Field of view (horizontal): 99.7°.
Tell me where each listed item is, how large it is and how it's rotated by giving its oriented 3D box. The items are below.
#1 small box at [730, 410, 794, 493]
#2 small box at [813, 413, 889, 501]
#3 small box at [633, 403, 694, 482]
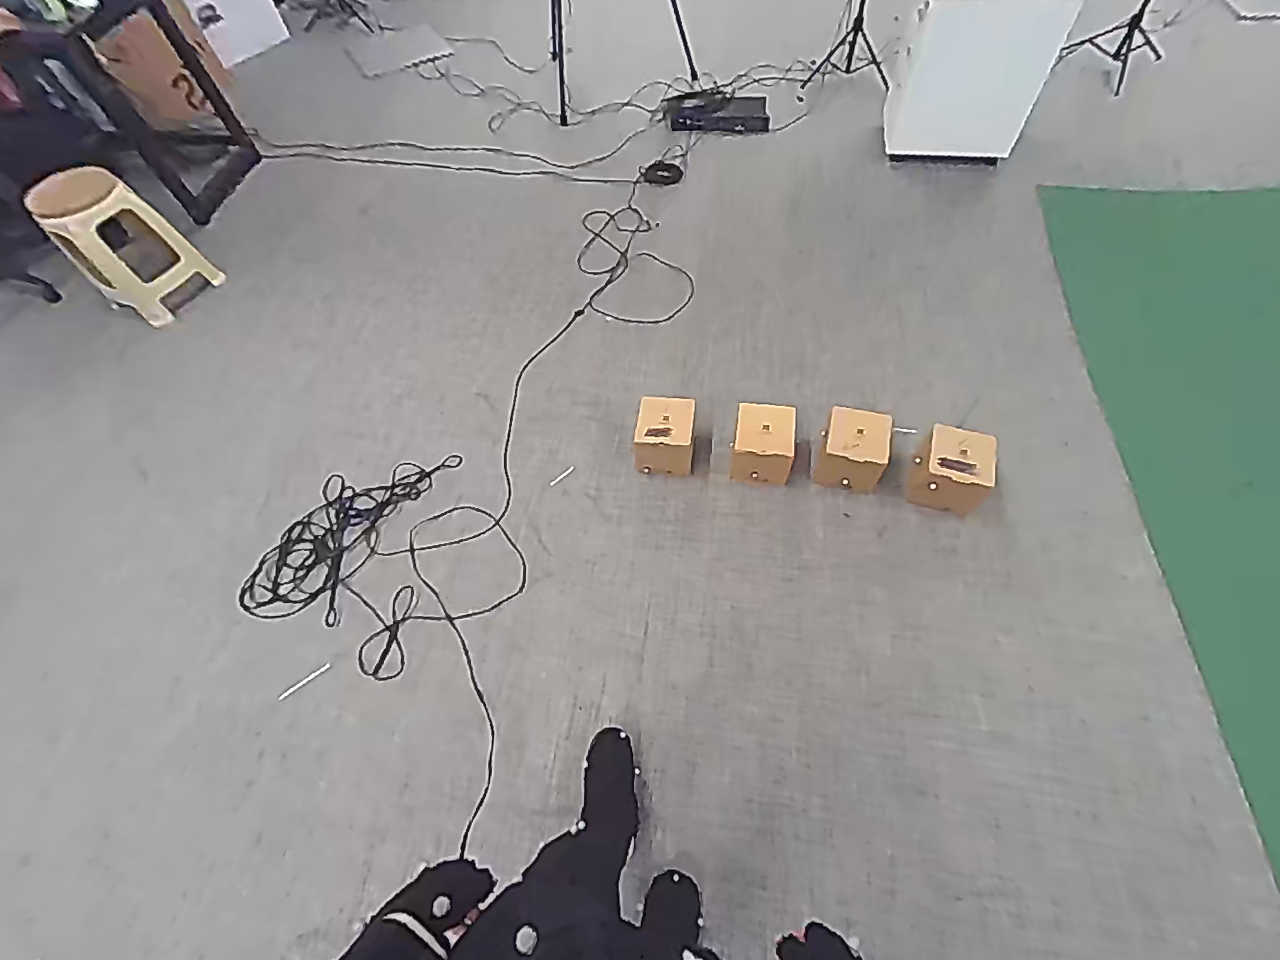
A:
[{"bbox_3d":[0.364,-0.084,1.626,0.168,0.176,0.179,6,59,8],"label":"small box"},{"bbox_3d":[0.618,-0.065,1.593,0.168,0.176,0.179,13,60,13],"label":"small box"},{"bbox_3d":[0.077,-0.112,1.664,0.168,0.176,0.179,5,58,8],"label":"small box"}]
